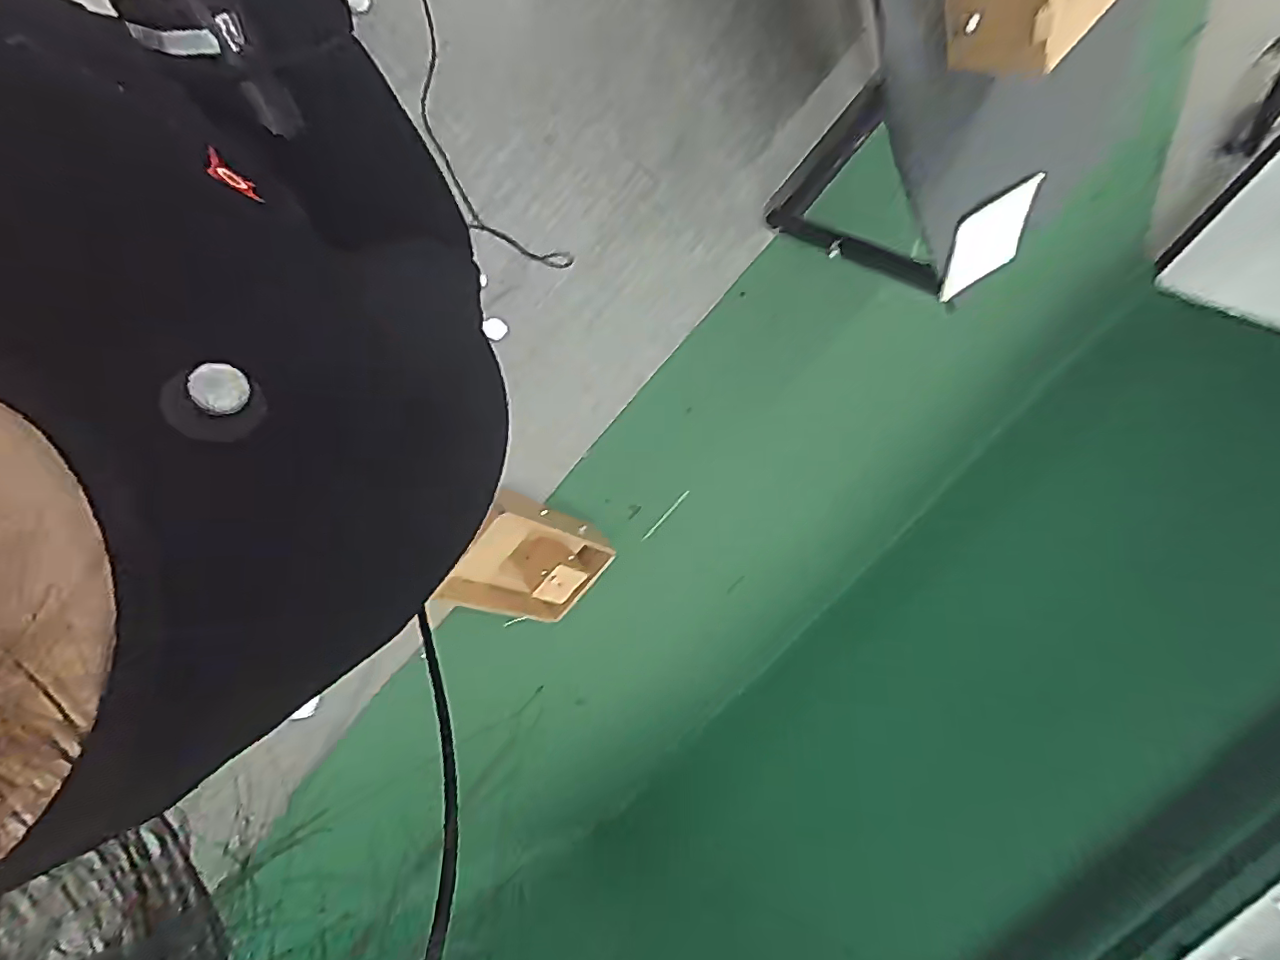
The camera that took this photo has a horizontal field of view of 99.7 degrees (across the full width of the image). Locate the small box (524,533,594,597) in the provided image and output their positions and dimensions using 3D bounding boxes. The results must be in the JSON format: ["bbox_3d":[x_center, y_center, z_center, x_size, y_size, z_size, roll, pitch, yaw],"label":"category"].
[{"bbox_3d":[-0.318,0.330,2.115,0.168,0.176,0.179,-48,139,10],"label":"small box"}]

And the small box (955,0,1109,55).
[{"bbox_3d":[0.595,-0.773,0.791,0.179,0.176,0.168,-47,139,5],"label":"small box"}]
